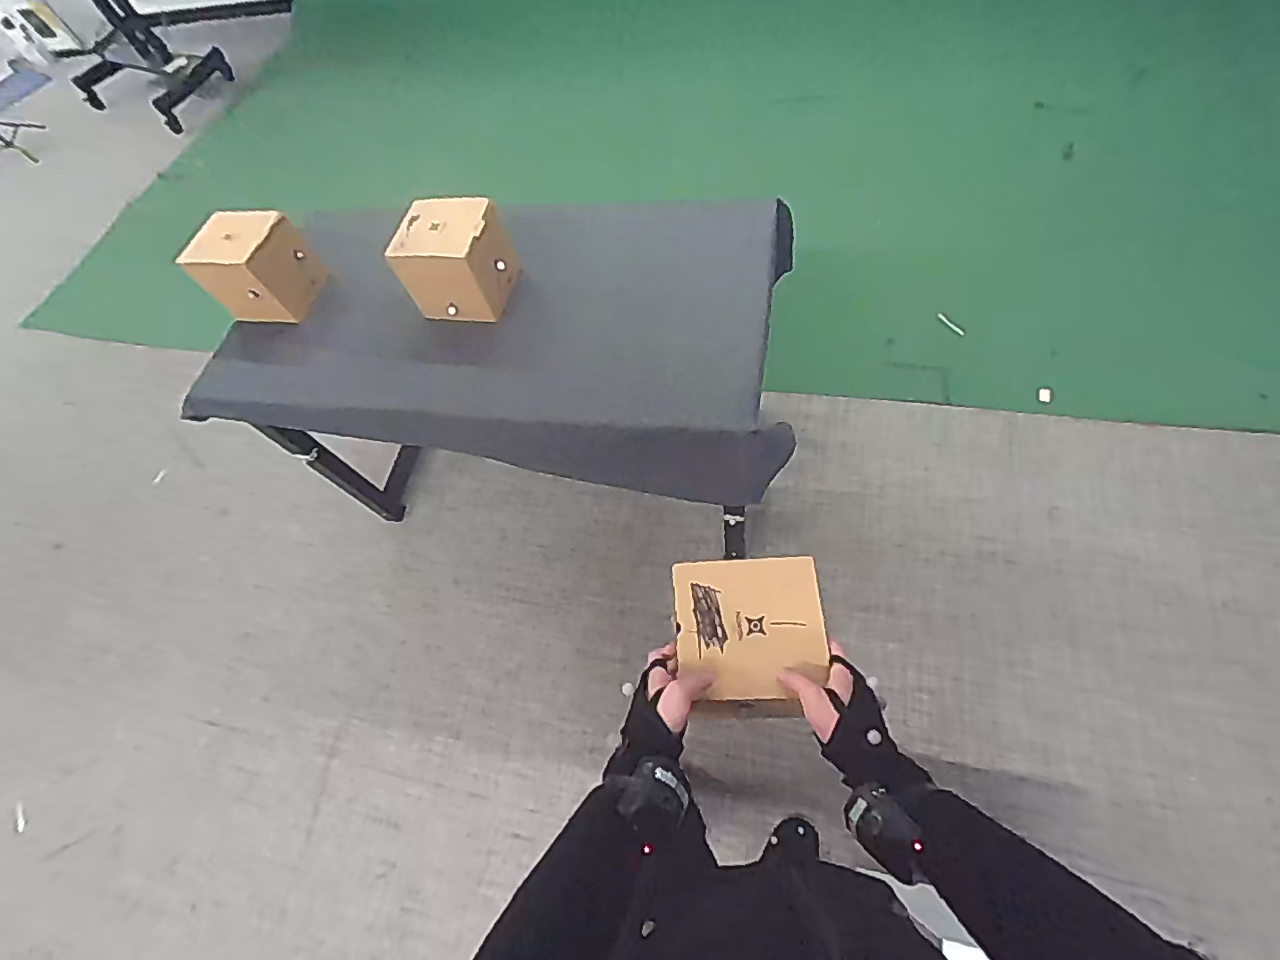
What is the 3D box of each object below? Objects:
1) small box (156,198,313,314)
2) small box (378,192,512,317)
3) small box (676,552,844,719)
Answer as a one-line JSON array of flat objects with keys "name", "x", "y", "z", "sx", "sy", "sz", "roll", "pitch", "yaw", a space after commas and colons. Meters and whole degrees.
[{"name": "small box", "x": -0.855, "y": -0.477, "z": 1.162, "sx": 0.179, "sy": 0.176, "sz": 0.168, "roll": 5, "pitch": 60, "yaw": 10}, {"name": "small box", "x": -0.379, "y": -0.450, "z": 1.092, "sx": 0.179, "sy": 0.176, "sz": 0.168, "roll": 7, "pitch": 62, "yaw": 10}, {"name": "small box", "x": 0.139, "y": 0.203, "z": 0.686, "sx": 0.179, "sy": 0.176, "sz": 0.168, "roll": -3, "pitch": 58, "yaw": 4}]
